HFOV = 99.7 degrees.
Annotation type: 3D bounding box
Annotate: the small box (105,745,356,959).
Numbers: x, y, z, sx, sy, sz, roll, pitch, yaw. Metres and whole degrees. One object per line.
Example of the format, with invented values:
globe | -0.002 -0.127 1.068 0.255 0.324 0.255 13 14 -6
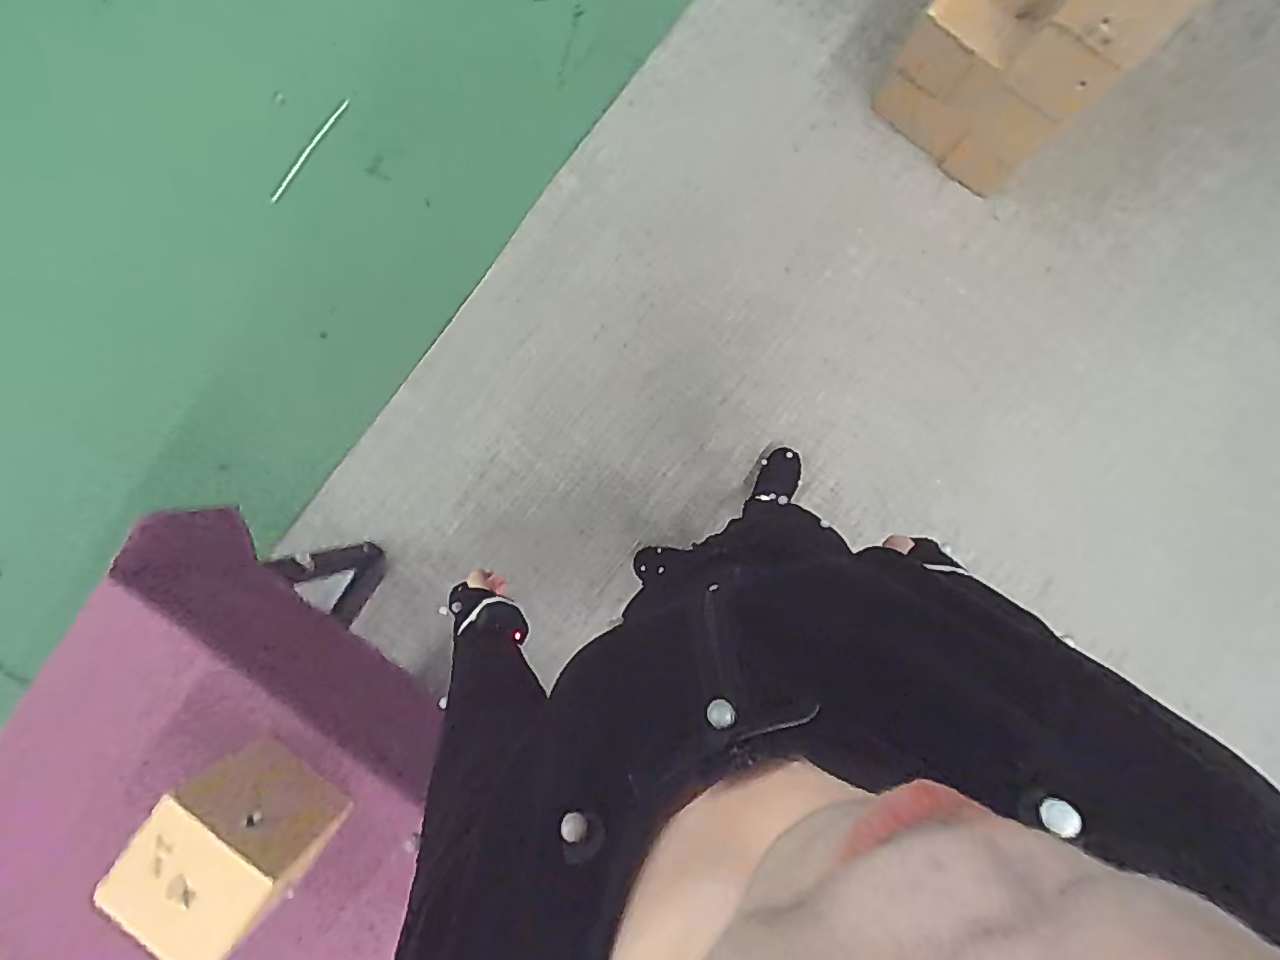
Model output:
small box | -0.534 0.501 0.734 0.179 0.176 0.168 36 91 3
